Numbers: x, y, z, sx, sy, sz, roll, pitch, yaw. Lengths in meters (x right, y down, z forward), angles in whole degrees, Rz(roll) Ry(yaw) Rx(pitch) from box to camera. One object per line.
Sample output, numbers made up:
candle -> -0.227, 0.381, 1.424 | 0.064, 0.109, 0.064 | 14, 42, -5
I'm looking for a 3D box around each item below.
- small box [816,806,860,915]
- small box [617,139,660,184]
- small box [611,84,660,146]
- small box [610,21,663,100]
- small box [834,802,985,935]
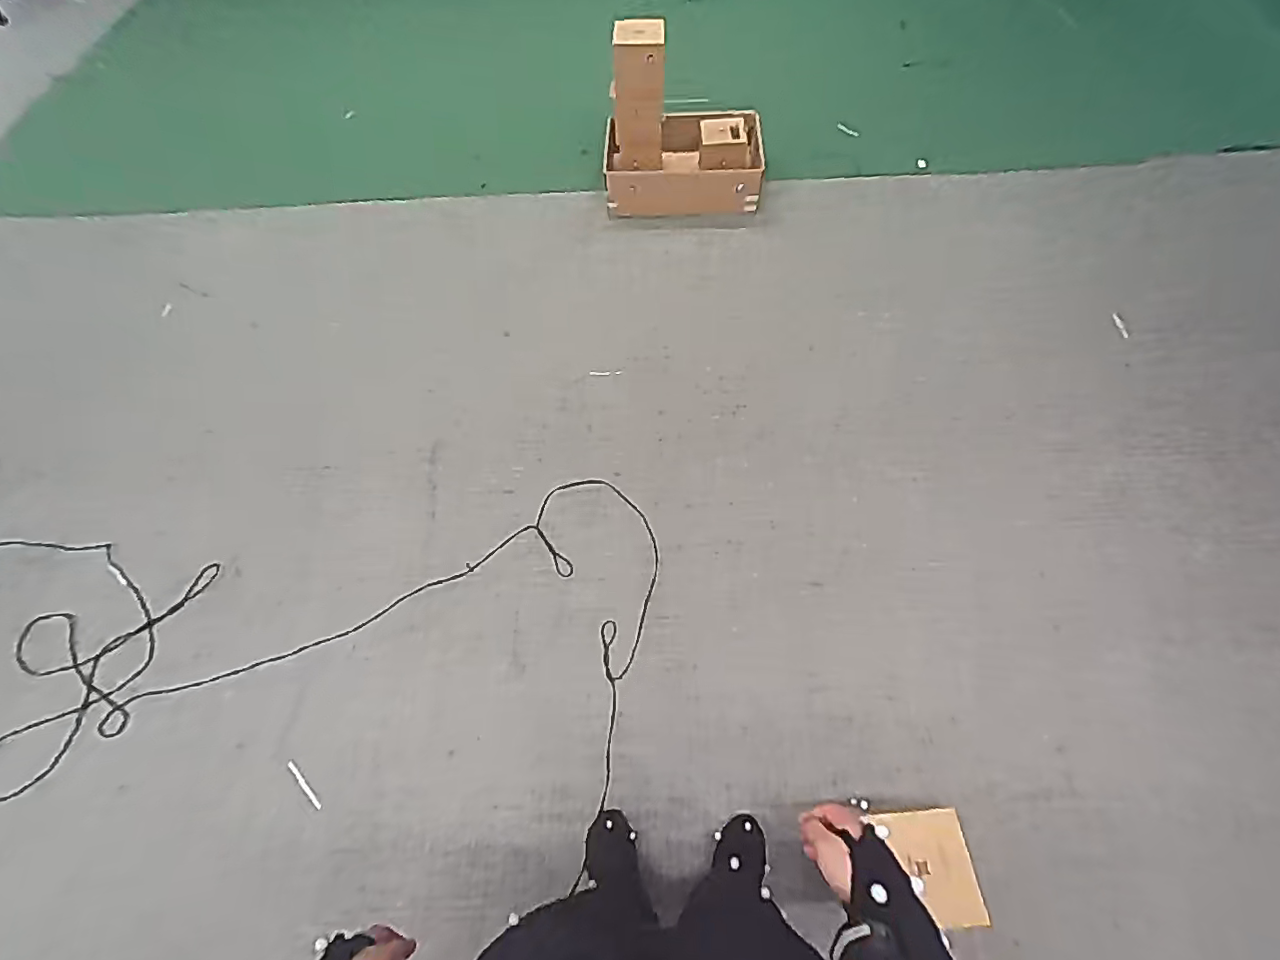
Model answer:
small box -> 0.474, 0.775, 1.115 | 0.179, 0.176, 0.168 | -4, 62, 1
small box -> -0.002, -1.331, 2.201 | 0.168, 0.176, 0.179 | -1, 63, 2
small box -> -0.014, -1.399, 2.051 | 0.179, 0.176, 0.168 | 1, 63, 1
small box -> -0.009, -1.473, 1.903 | 0.179, 0.176, 0.168 | 0, 62, 2
small box -> 0.467, 0.689, 0.977 | 0.179, 0.176, 0.168 | -6, 63, -2
